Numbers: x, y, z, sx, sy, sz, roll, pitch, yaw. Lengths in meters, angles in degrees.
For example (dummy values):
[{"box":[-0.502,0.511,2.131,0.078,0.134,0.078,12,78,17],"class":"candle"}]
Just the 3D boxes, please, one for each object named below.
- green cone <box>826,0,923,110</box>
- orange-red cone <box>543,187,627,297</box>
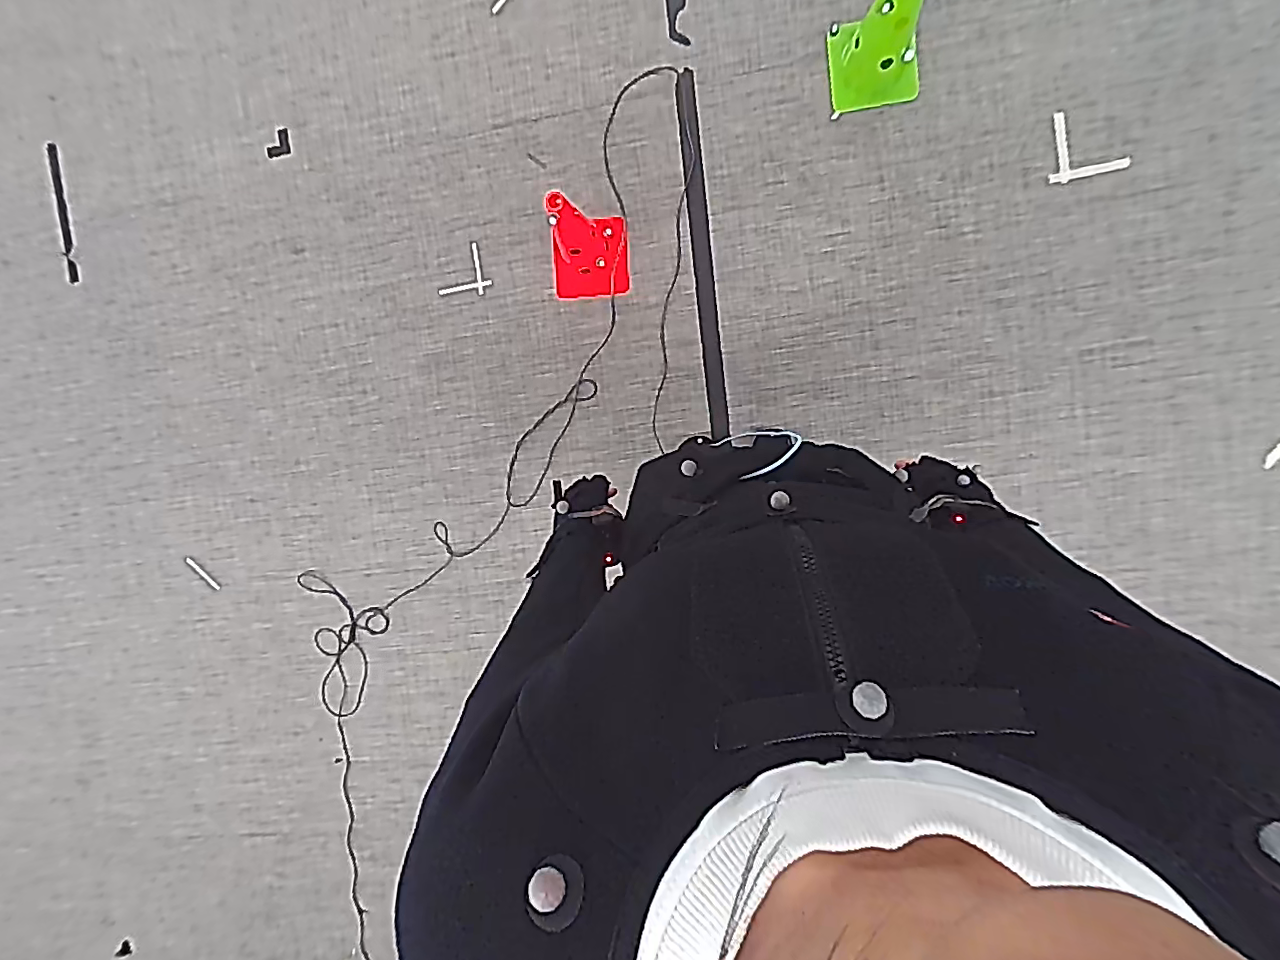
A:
[{"box":[0.536,-0.984,1.121,0.202,0.368,0.200,-6,94,6],"class":"green cone"},{"box":[-0.155,-0.571,1.243,0.199,0.360,0.198,-2,93,8],"class":"orange-red cone"}]
